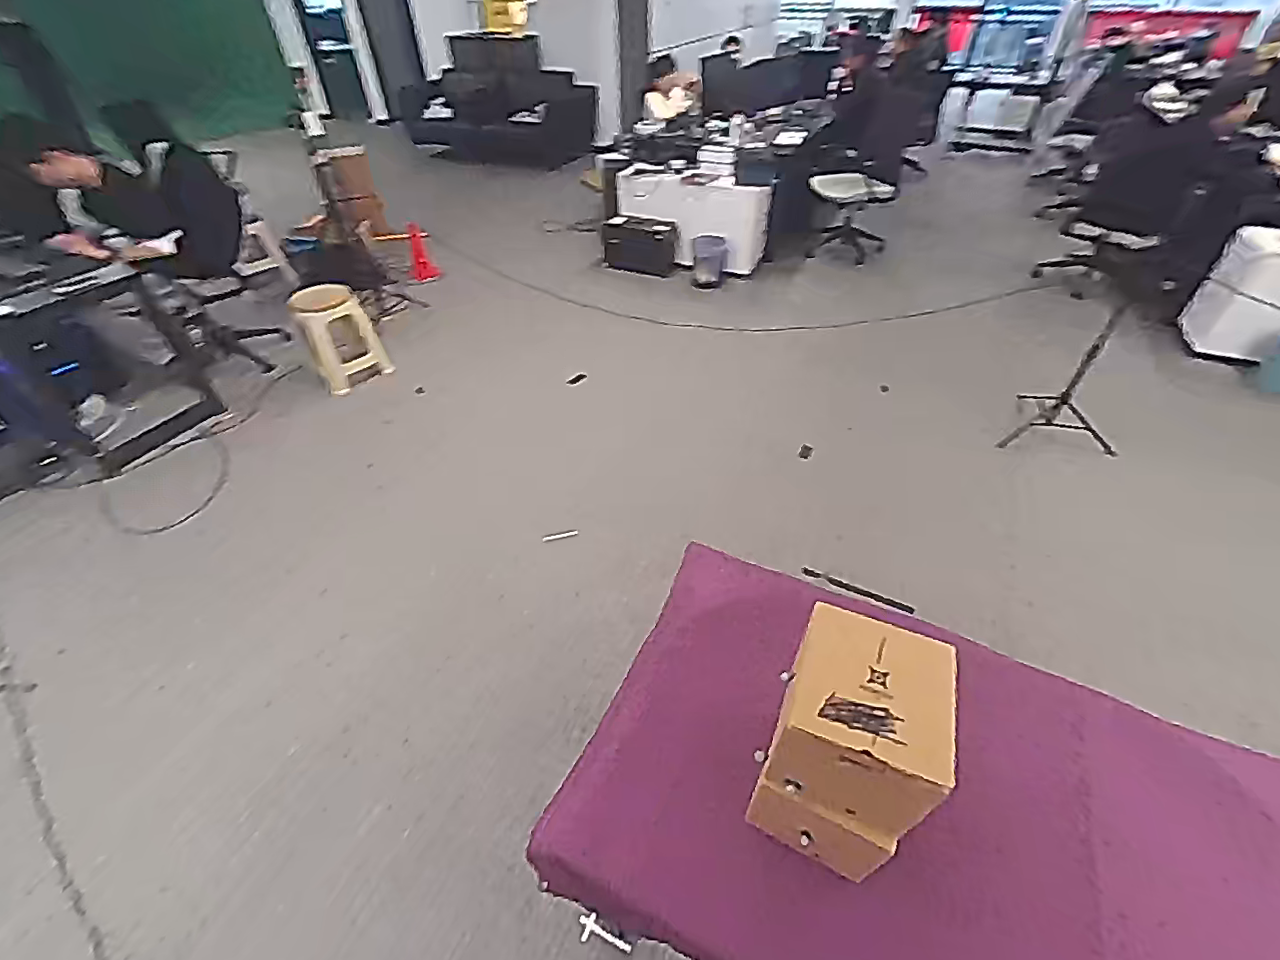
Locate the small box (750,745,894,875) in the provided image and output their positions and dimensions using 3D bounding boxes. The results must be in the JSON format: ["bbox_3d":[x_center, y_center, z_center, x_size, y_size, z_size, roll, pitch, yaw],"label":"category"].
[{"bbox_3d":[0.265,0.418,0.771,0.168,0.176,0.179,21,47,21],"label":"small box"}]

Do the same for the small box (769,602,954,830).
[{"bbox_3d":[0.265,0.290,0.667,0.168,0.176,0.179,17,46,18],"label":"small box"}]
